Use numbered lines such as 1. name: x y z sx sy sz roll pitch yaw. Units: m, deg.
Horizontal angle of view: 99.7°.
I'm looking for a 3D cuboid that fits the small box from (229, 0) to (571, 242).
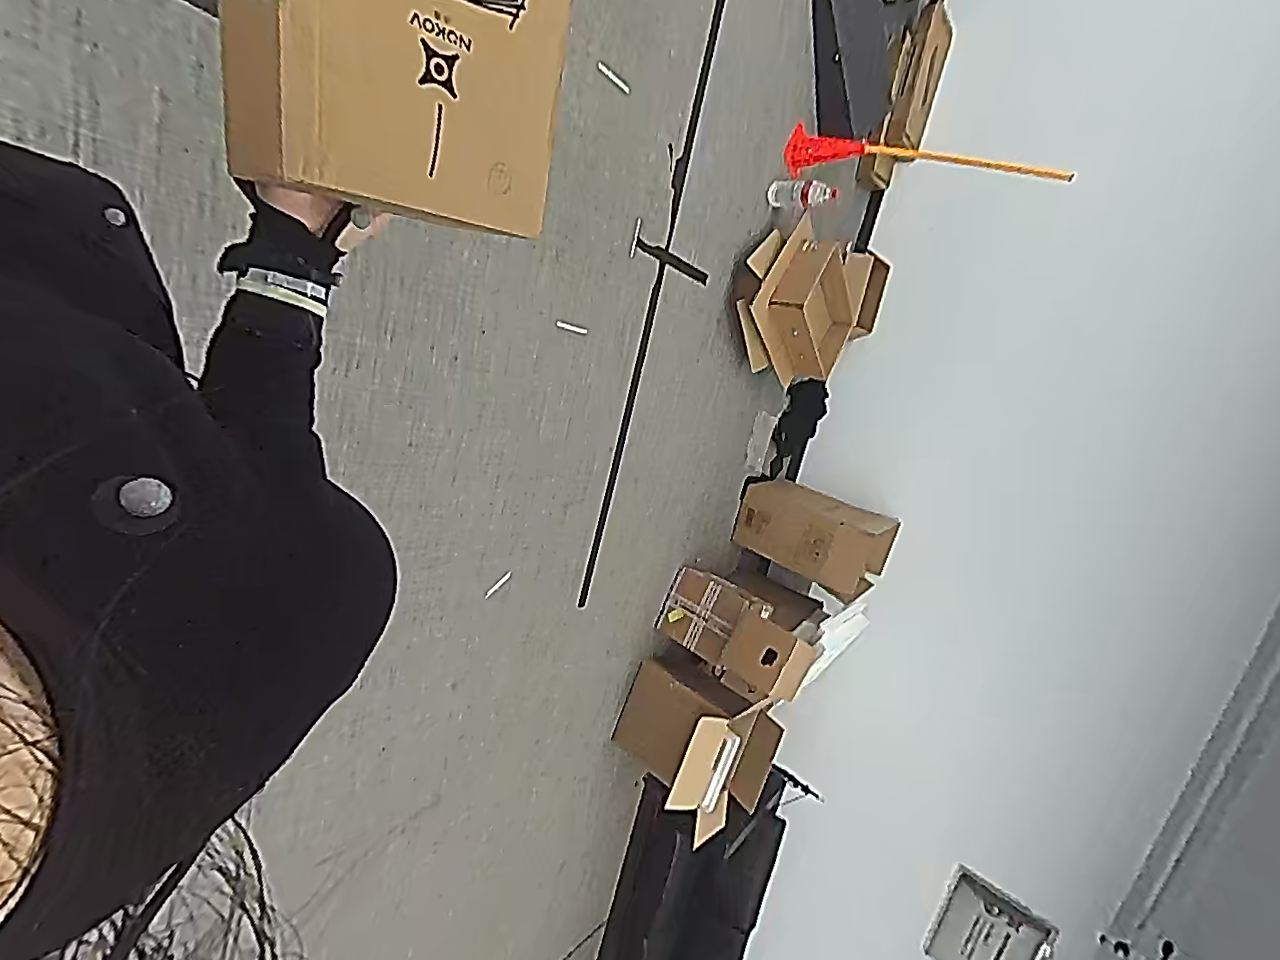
1. small box: -0.171 -0.281 0.376 0.168 0.176 0.179 -8 118 -44
